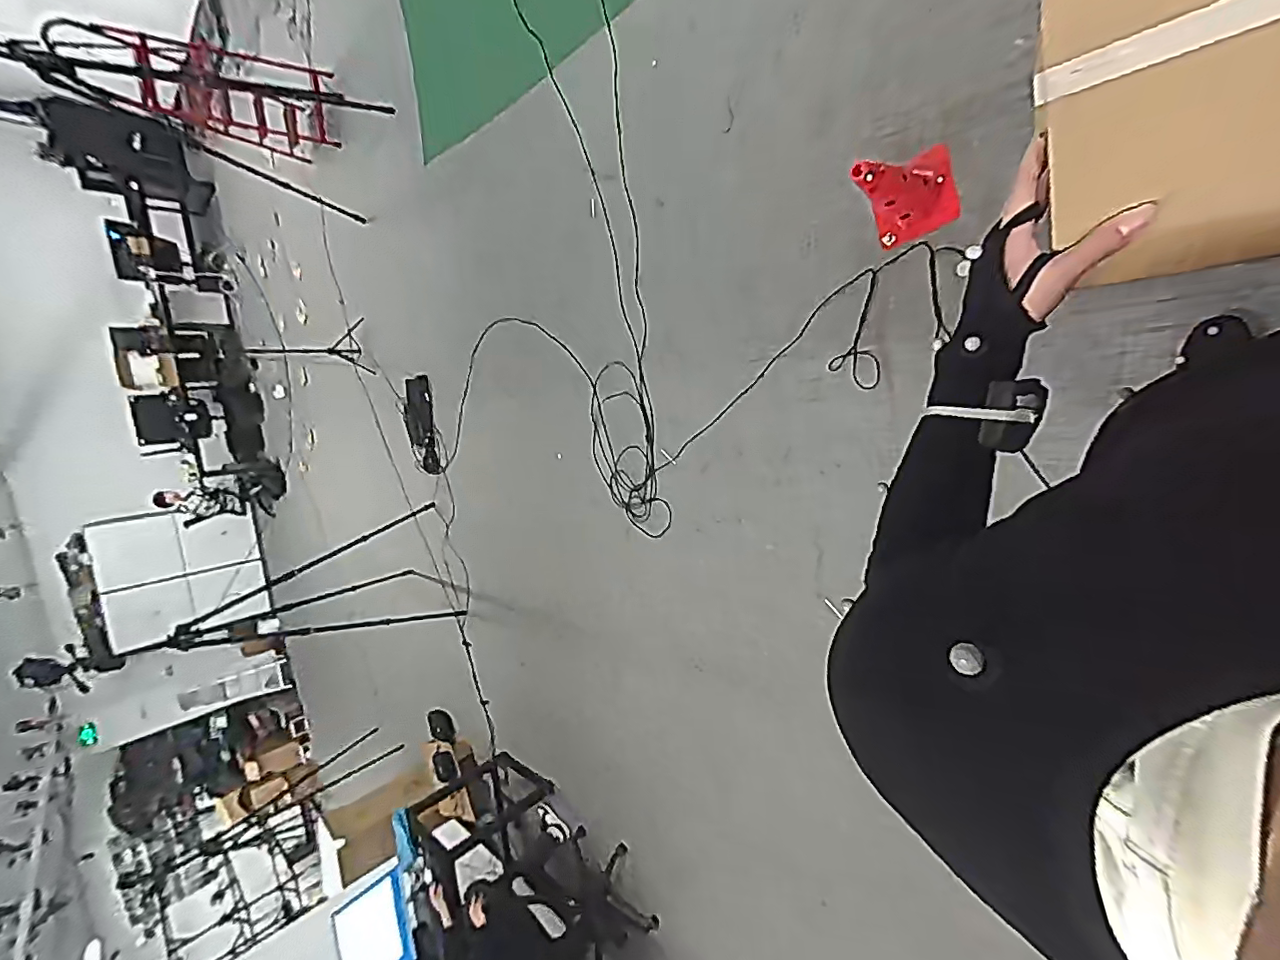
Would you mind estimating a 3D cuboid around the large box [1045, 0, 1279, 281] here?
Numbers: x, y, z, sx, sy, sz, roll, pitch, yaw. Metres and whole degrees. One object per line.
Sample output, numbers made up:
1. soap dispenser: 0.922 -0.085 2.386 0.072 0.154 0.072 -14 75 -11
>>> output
1. large box: 0.543 -0.372 0.375 0.408 0.320 0.320 0 119 41
